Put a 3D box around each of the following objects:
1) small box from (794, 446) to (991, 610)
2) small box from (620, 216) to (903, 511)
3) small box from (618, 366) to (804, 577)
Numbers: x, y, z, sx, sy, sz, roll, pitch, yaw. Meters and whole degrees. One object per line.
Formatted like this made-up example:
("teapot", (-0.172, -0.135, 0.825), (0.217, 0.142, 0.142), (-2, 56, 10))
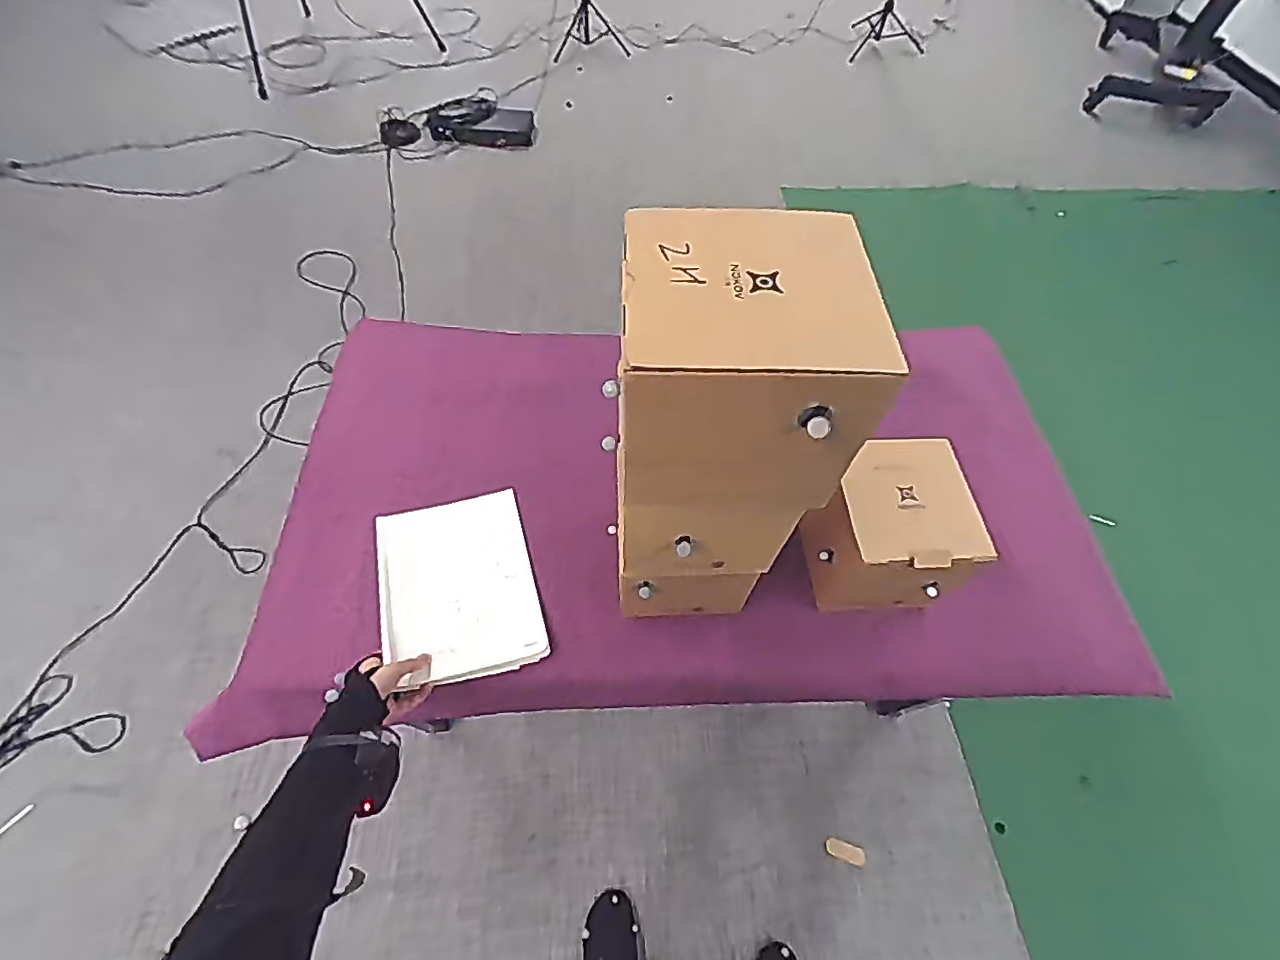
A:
("small box", (0.325, 0.072, 0.738), (0.168, 0.176, 0.179), (0, 57, -3))
("small box", (0.074, -0.085, 0.438), (0.179, 0.176, 0.168), (1, 57, -1))
("small box", (0.060, -0.003, 0.581), (0.168, 0.176, 0.179), (-1, 57, -3))
